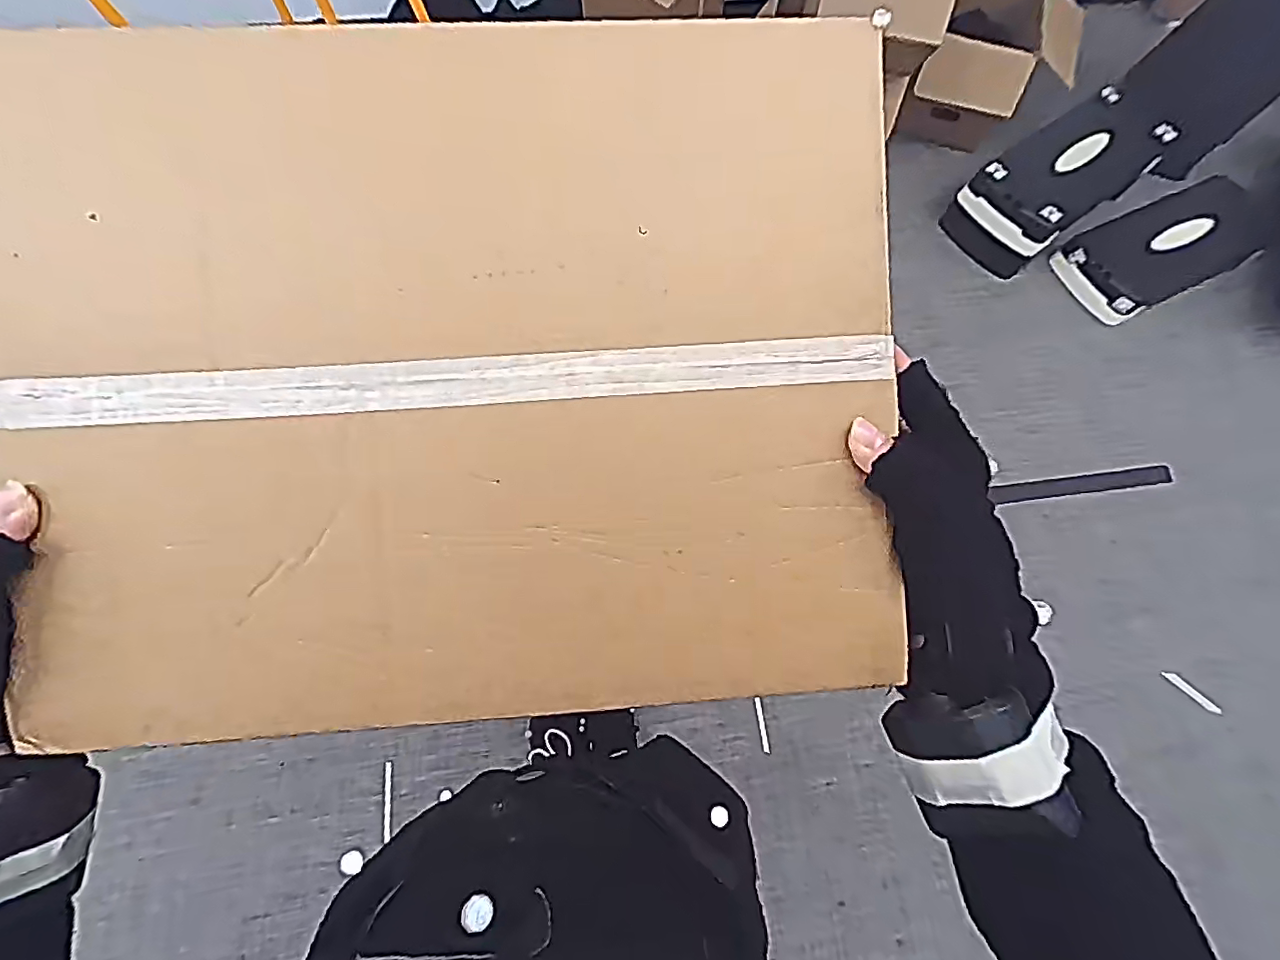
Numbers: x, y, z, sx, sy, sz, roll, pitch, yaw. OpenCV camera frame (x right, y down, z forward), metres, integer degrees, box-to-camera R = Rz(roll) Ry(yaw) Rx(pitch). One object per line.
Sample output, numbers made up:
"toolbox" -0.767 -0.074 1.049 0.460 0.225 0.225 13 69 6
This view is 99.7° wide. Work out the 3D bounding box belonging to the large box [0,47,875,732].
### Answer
"large box" -0.092 -0.052 0.407 0.408 0.320 0.320 -3 92 -3
